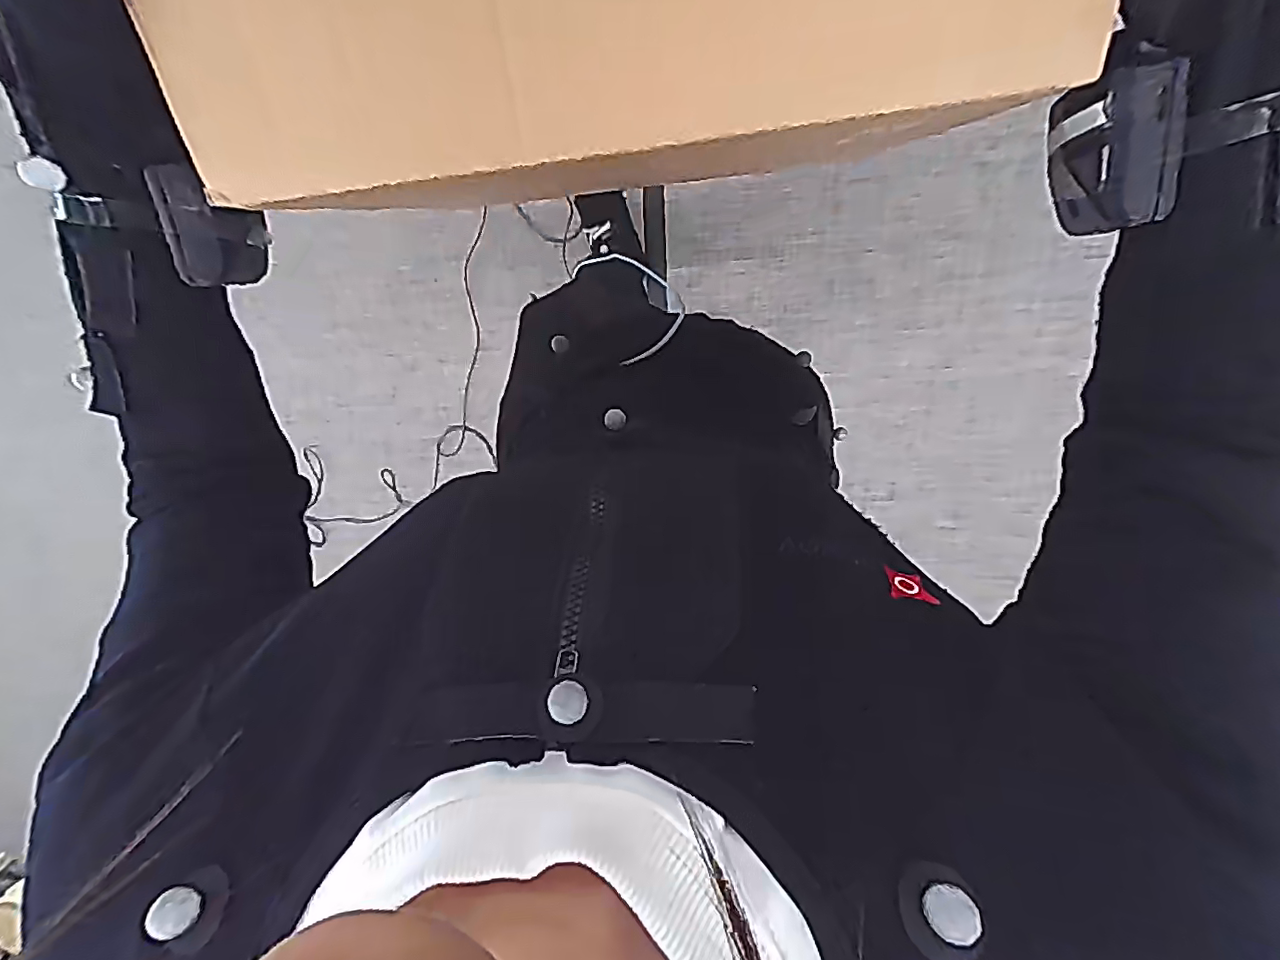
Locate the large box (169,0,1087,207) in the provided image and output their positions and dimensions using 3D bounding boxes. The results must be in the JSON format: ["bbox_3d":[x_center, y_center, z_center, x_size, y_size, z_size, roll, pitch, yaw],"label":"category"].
[{"bbox_3d":[-0.017,-0.365,0.326,0.408,0.320,0.320,-4,116,8],"label":"large box"}]
